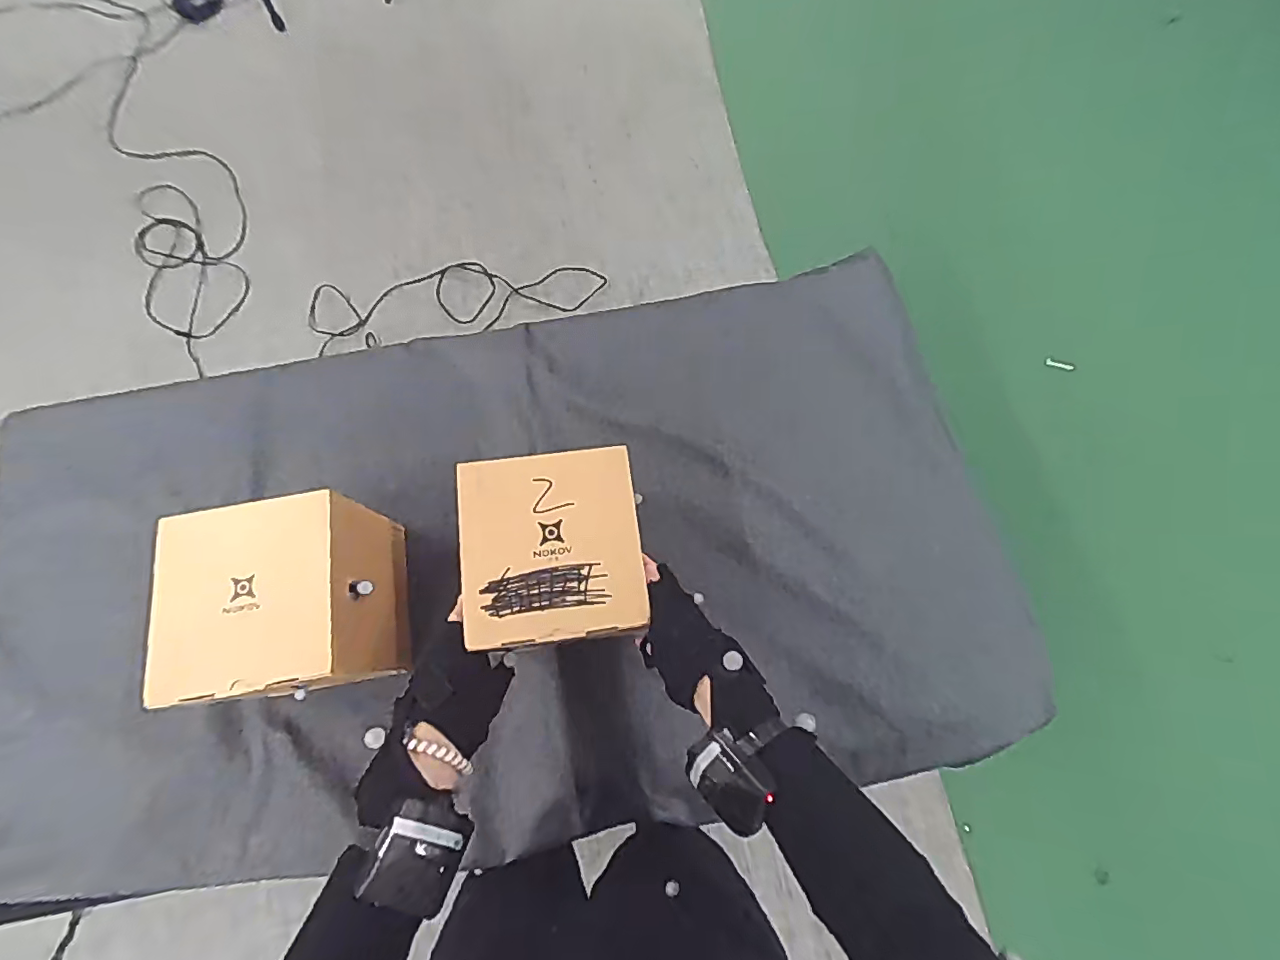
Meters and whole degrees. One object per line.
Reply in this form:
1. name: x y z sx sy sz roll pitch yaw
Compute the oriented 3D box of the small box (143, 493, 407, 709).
1. small box: -0.363 0.130 0.573 0.168 0.176 0.179 -10 73 -2
